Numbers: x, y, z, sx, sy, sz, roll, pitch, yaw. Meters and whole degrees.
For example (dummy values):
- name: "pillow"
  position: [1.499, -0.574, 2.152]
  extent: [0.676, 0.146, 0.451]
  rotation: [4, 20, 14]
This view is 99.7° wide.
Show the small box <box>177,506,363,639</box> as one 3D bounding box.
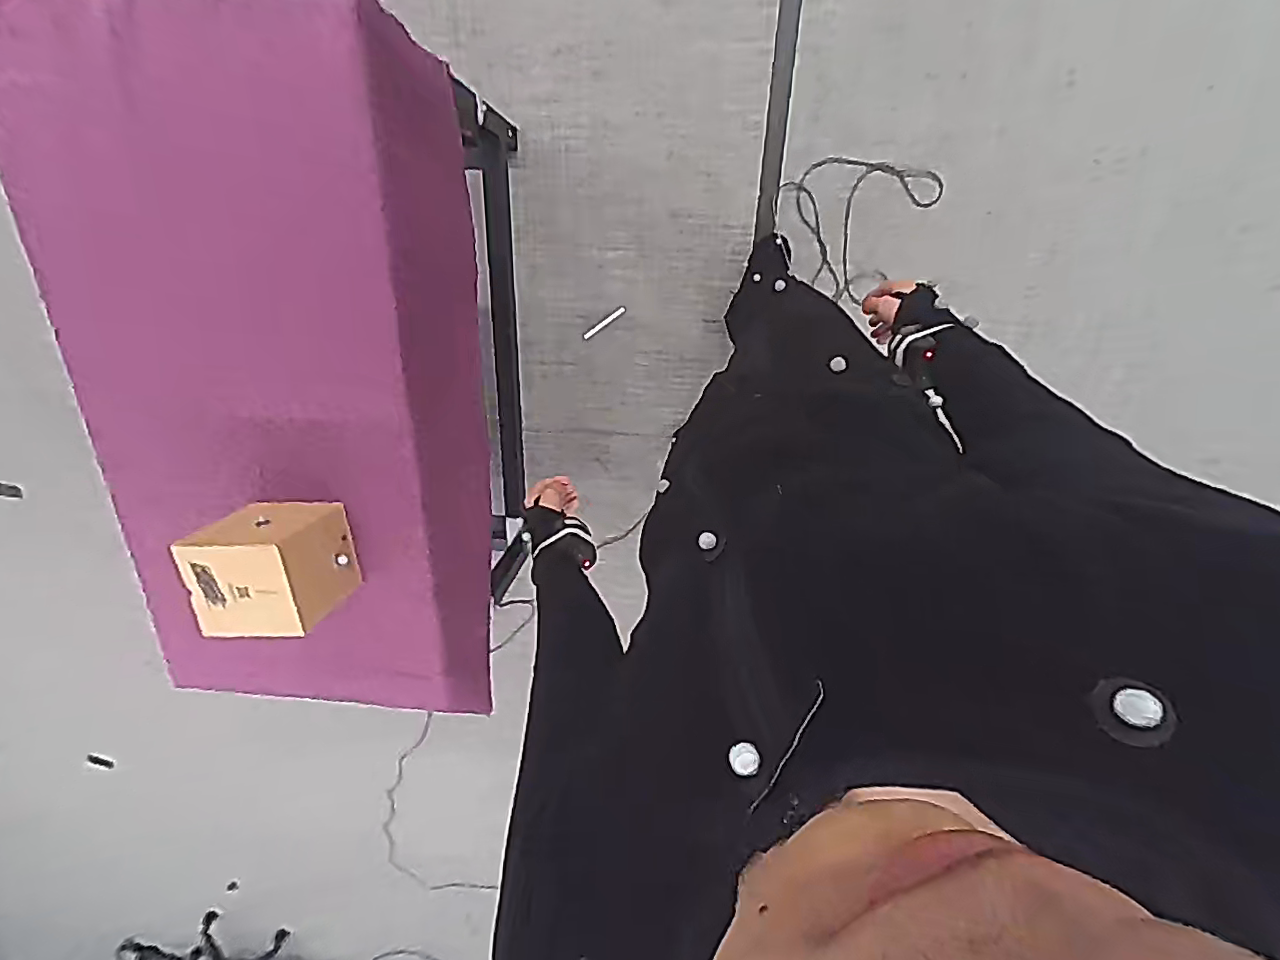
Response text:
- name: "small box"
  position: [-0.613, 0.150, 0.919]
  extent: [0.179, 0.176, 0.168]
  rotation: [-1, 110, 5]
